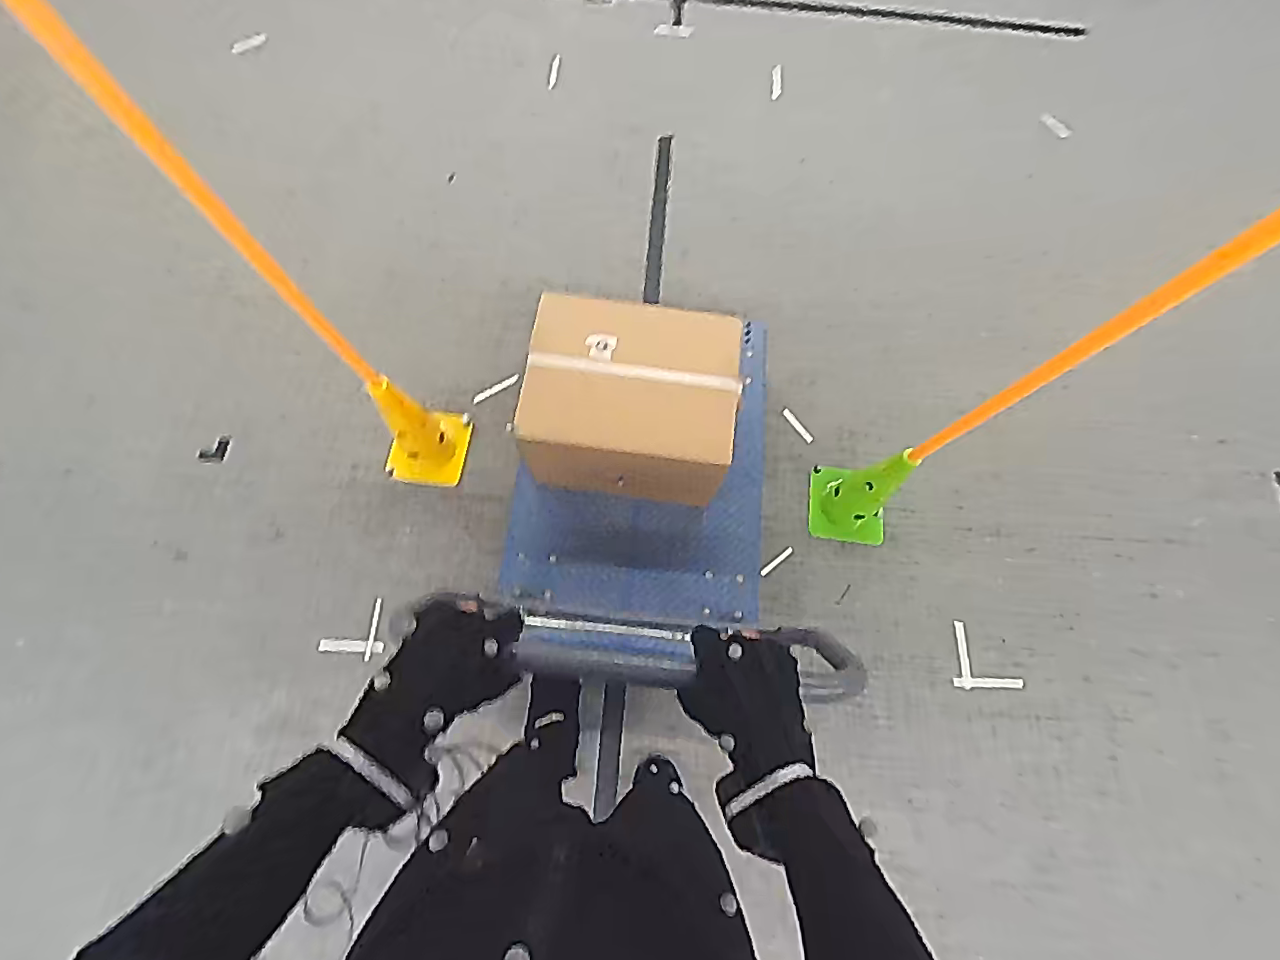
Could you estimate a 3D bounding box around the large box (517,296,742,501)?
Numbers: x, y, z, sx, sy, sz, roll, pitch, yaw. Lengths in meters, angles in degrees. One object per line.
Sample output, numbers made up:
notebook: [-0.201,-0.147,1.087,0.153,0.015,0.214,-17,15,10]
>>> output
large box: [-0.013,-0.157,1.174,0.408,0.320,0.320,8,73,1]

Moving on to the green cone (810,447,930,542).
green cone: [0.569,0.007,1.293,0.202,0.368,0.200,9,72,-1]
